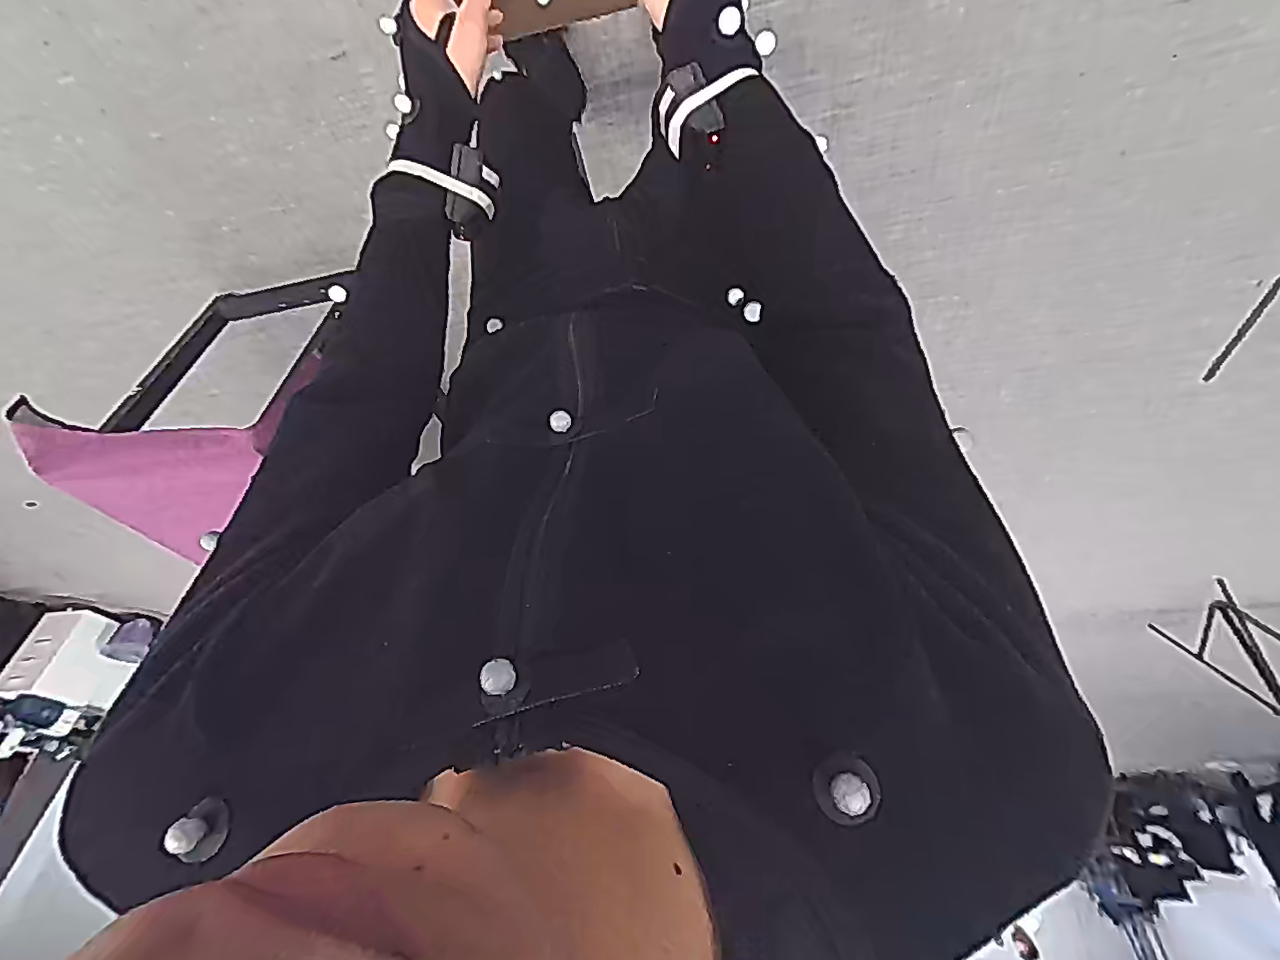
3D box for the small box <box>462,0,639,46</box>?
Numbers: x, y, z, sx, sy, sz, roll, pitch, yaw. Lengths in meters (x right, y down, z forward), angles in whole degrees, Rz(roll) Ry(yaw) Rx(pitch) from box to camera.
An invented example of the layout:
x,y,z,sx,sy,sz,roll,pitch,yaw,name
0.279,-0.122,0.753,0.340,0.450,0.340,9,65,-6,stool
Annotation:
x,y,z,sx,sy,sz,roll,pitch,yaw,name
-0.091,-0.509,0.463,0.179,0.176,0.168,-13,116,2,small box
